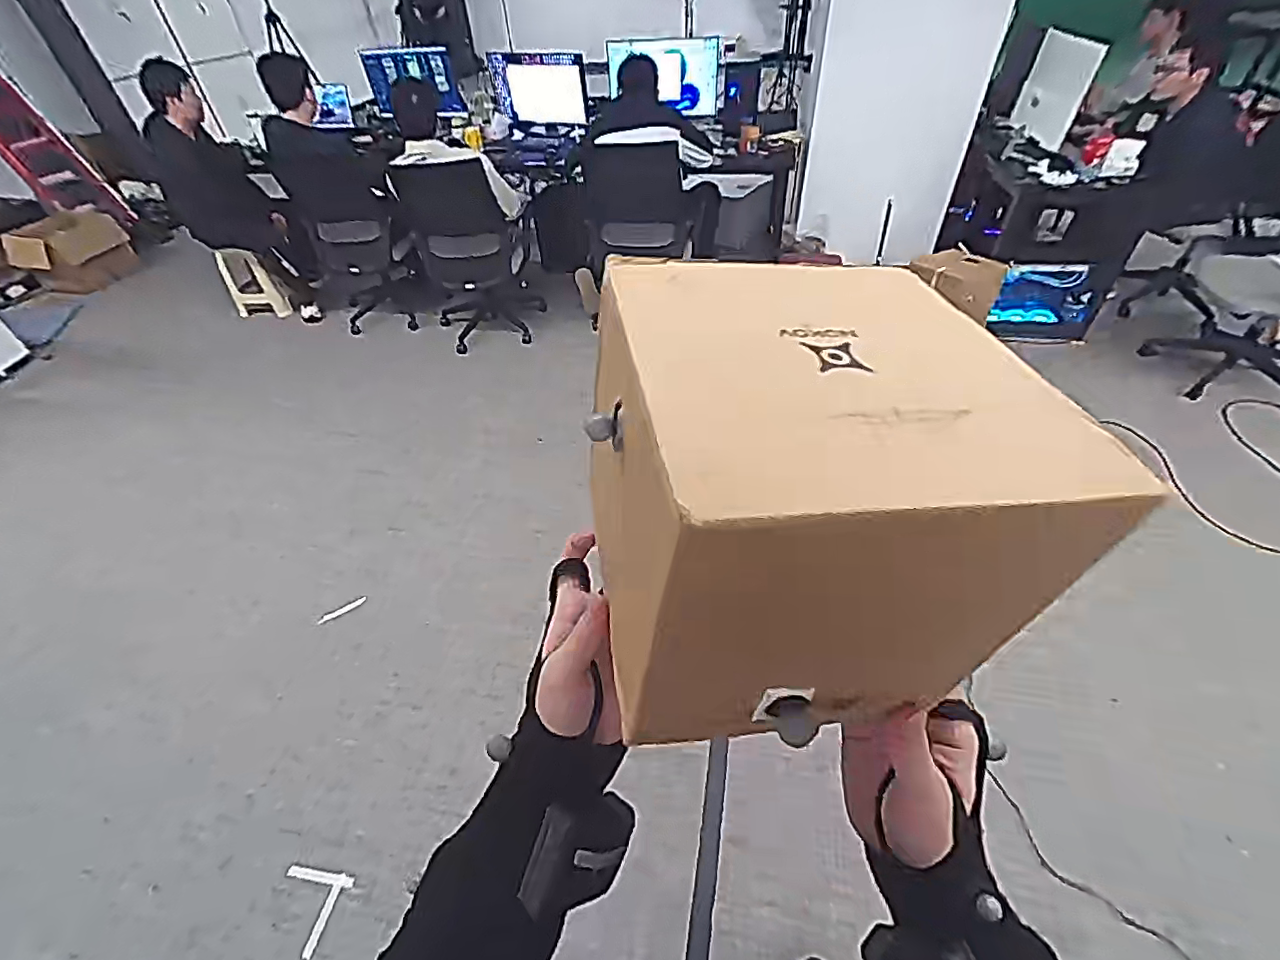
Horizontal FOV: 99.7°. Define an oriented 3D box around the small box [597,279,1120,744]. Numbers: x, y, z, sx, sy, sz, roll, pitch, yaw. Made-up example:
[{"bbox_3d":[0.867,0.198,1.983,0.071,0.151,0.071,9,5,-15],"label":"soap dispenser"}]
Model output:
[{"bbox_3d":[0.068,0.011,0.288,0.168,0.176,0.179,-3,45,-10],"label":"small box"}]
